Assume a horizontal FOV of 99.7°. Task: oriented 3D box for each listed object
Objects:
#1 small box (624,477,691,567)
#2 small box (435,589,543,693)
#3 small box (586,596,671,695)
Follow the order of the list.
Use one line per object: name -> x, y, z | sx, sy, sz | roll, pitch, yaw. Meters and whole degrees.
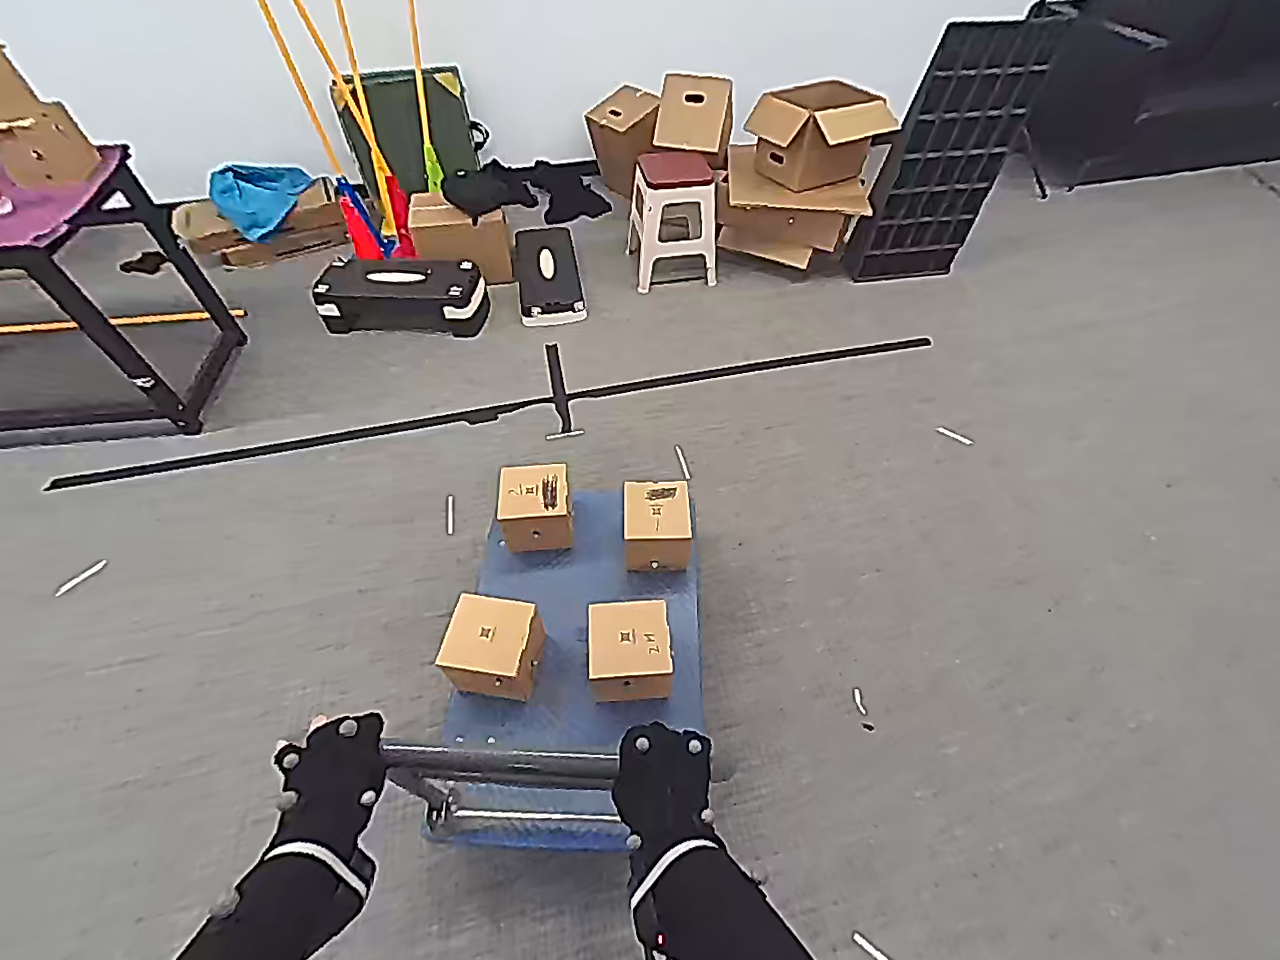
small box -> 0.041, 0.111, 1.418 | 0.168, 0.176, 0.179 | -1, 54, 0
small box -> -0.329, 0.367, 1.221 | 0.179, 0.176, 0.168 | 7, 52, 4
small box -> -0.026, 0.375, 1.215 | 0.179, 0.176, 0.168 | -3, 53, -2
